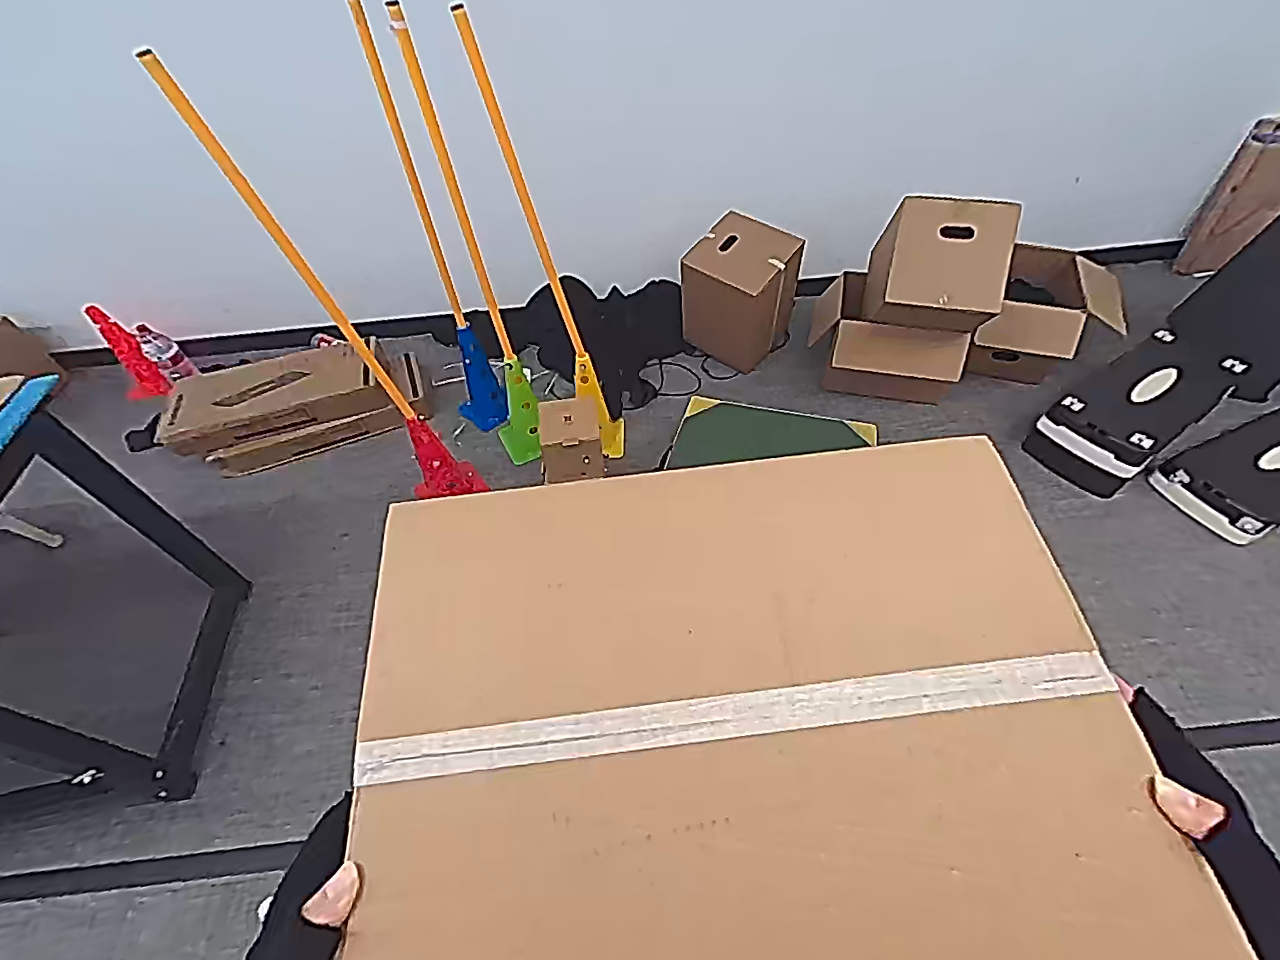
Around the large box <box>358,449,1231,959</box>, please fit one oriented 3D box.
[{"bbox_3d":[0.059,0.208,0.428,0.408,0.320,0.320,-7,61,0],"label":"large box"}]
